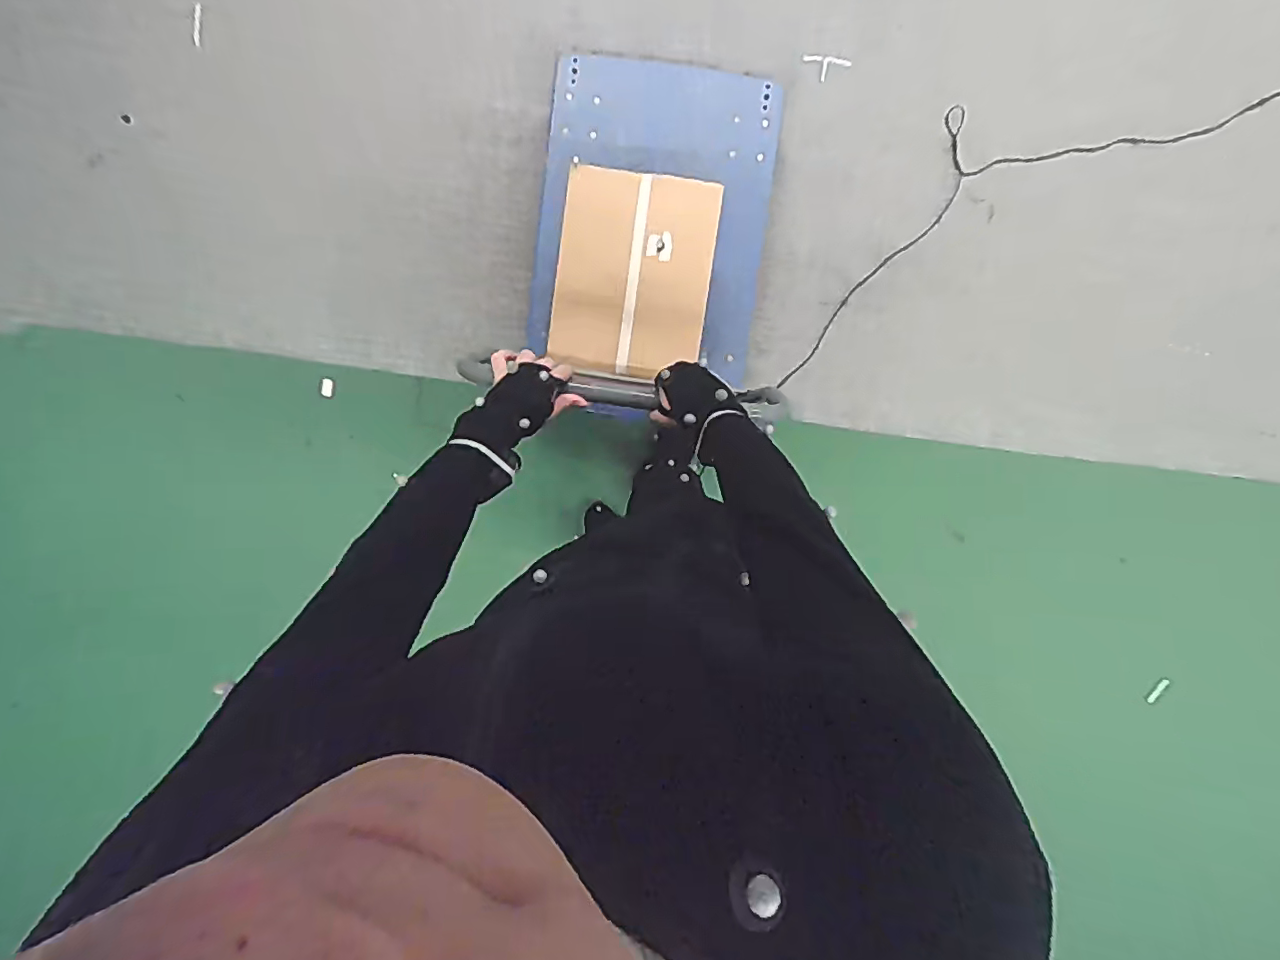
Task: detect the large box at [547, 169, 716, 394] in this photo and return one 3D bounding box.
[{"bbox_3d":[-0.017,-0.424,1.252,0.320,0.320,0.408,8,95,-1],"label":"large box"}]
